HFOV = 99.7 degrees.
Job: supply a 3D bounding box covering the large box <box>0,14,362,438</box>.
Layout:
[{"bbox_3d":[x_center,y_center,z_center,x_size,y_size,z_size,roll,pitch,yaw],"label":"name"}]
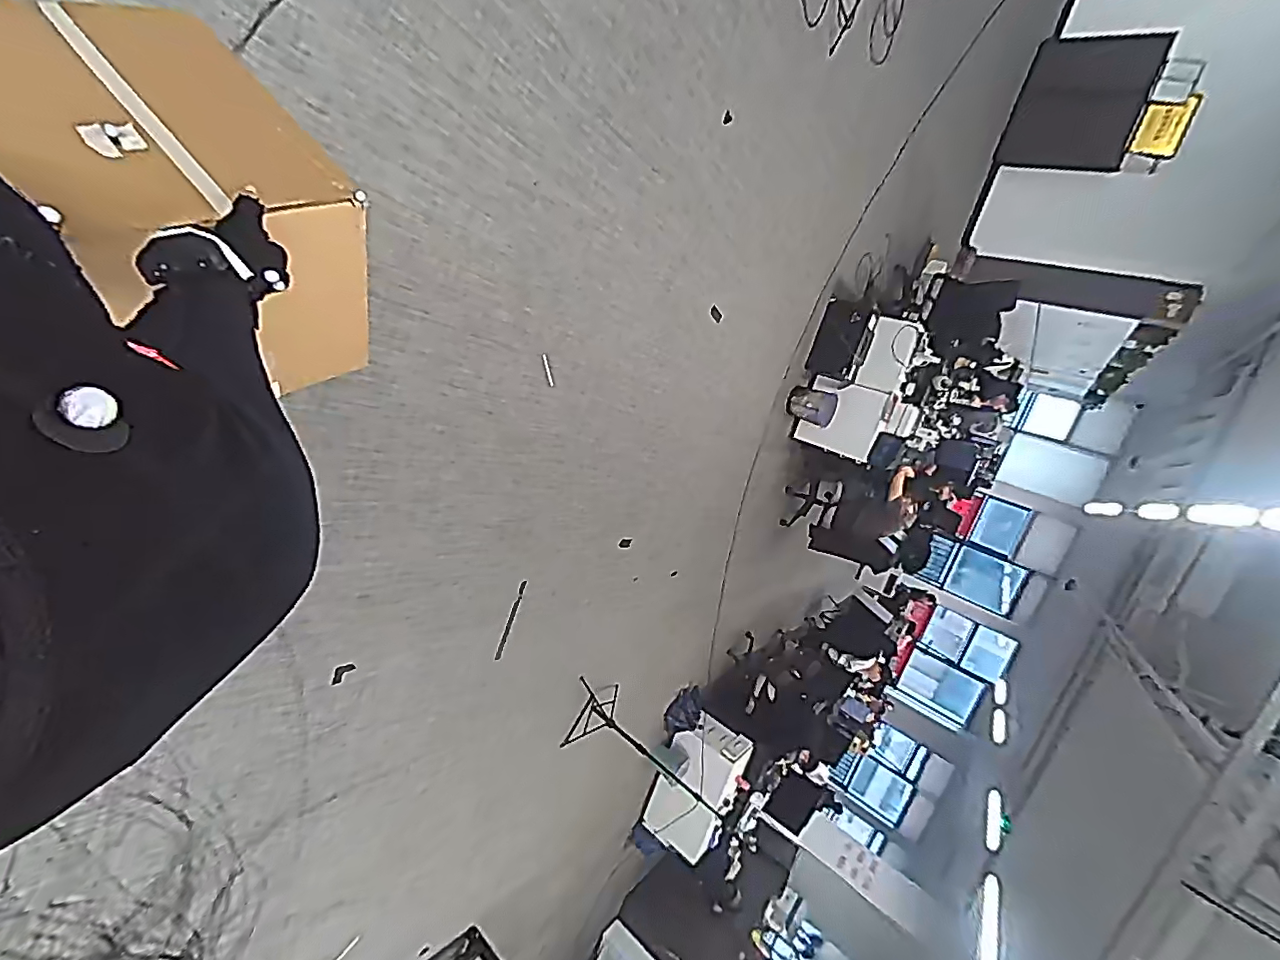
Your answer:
[{"bbox_3d":[-0.646,-0.338,0.744,0.320,0.408,0.320,-36,169,-38],"label":"large box"}]
